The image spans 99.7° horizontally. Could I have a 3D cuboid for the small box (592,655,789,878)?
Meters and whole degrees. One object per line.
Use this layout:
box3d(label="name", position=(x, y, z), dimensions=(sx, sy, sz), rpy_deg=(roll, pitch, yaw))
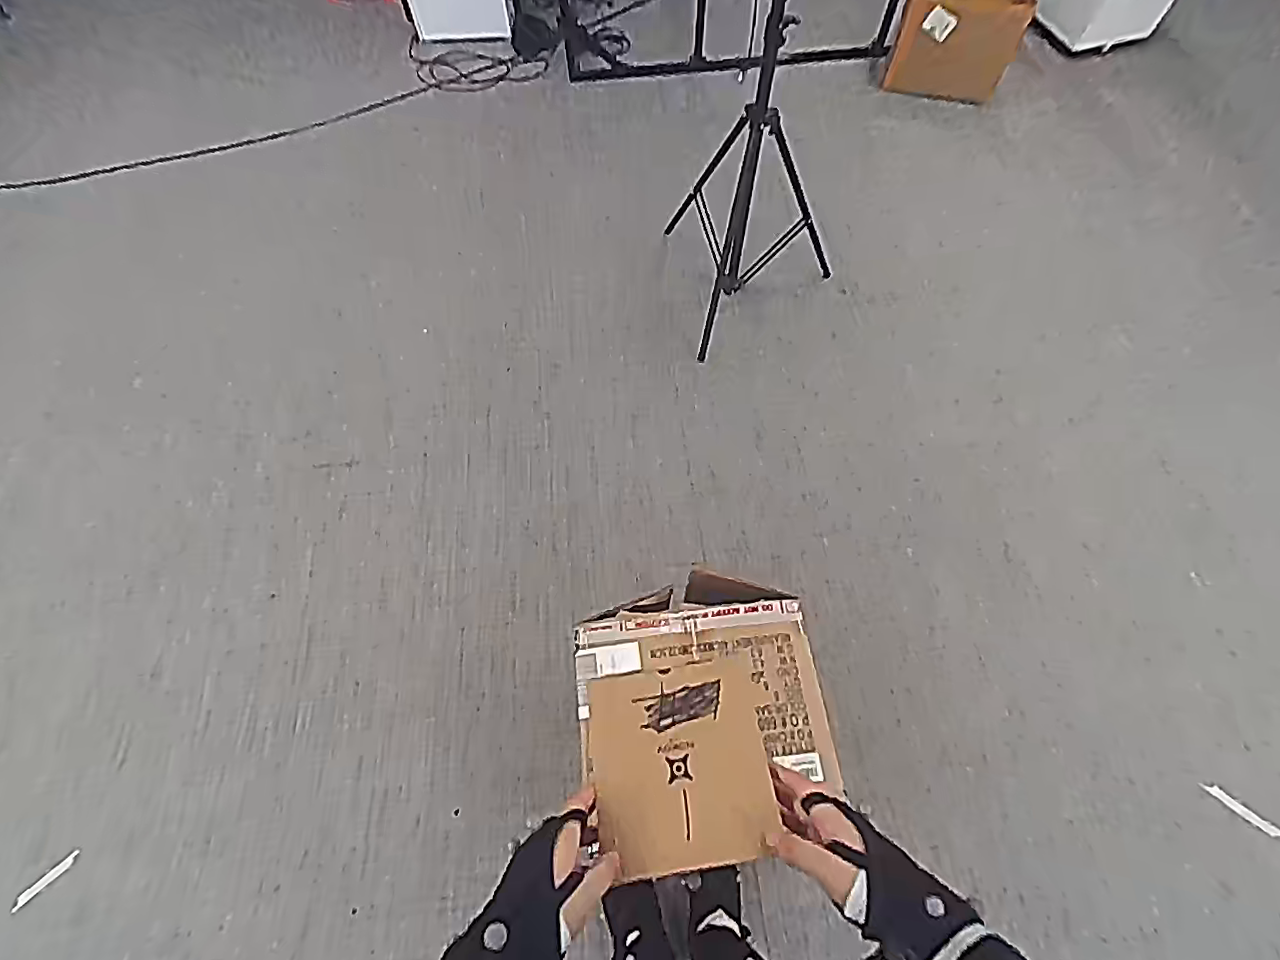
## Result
box3d(label="small box", position=(0.045, 0.310, 0.584), dimensions=(0.168, 0.176, 0.179), rpy_deg=(-9, 56, -1))
